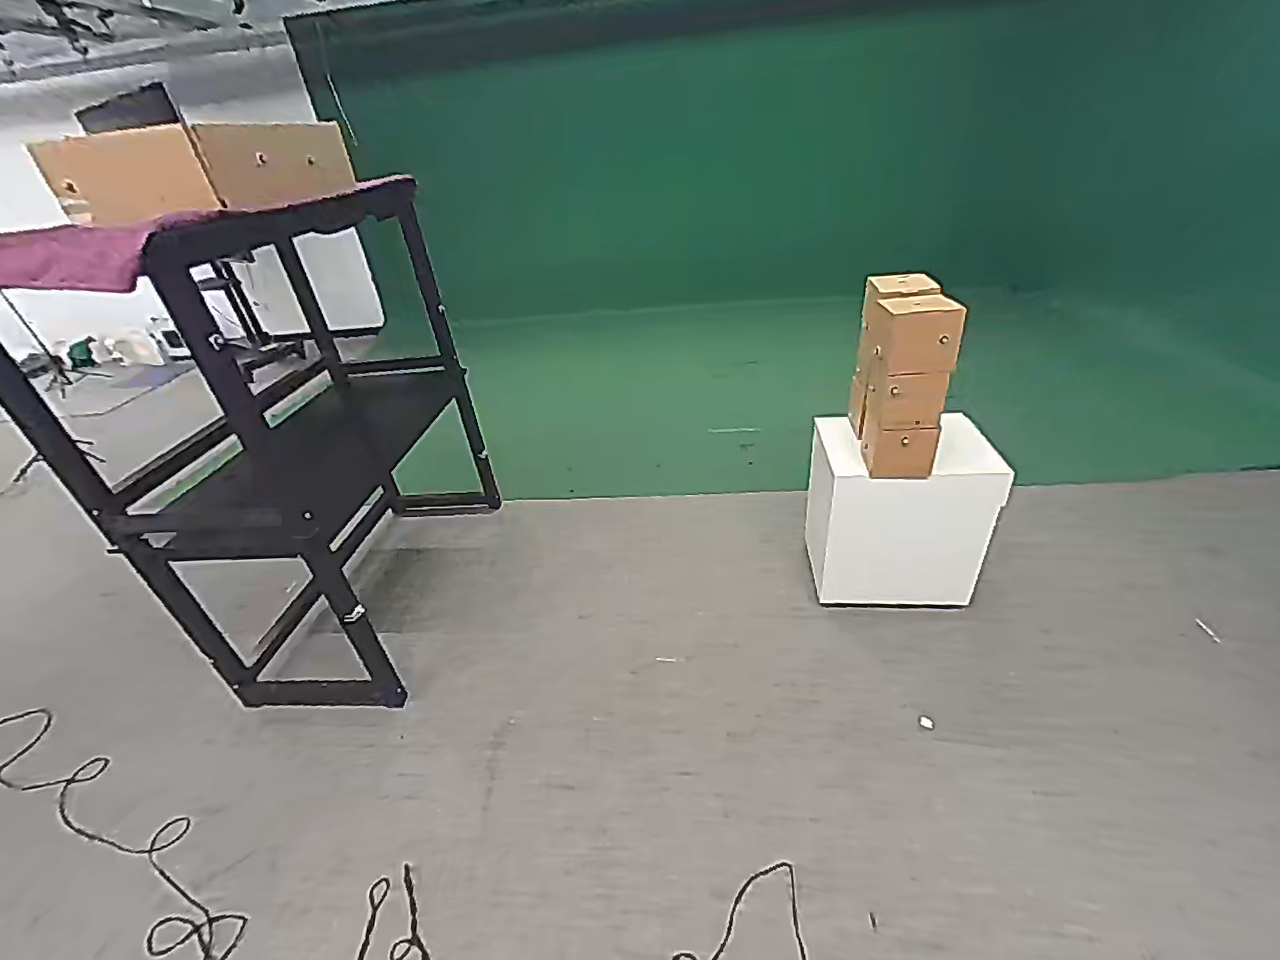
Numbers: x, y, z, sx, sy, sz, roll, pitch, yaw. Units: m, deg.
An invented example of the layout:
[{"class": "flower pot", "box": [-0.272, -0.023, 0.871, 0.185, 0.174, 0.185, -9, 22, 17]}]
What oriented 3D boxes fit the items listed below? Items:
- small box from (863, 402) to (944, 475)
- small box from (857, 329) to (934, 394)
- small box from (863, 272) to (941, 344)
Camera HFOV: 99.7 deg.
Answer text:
[{"class": "small box", "box": [0.796, -0.125, 1.649, 0.179, 0.176, 0.168, 0, 33, 10]}, {"class": "small box", "box": [0.816, -0.388, 1.743, 0.179, 0.176, 0.168, 0, 34, 9]}, {"class": "small box", "box": [0.791, -0.520, 1.649, 0.168, 0.176, 0.179, 0, 36, 9]}]
